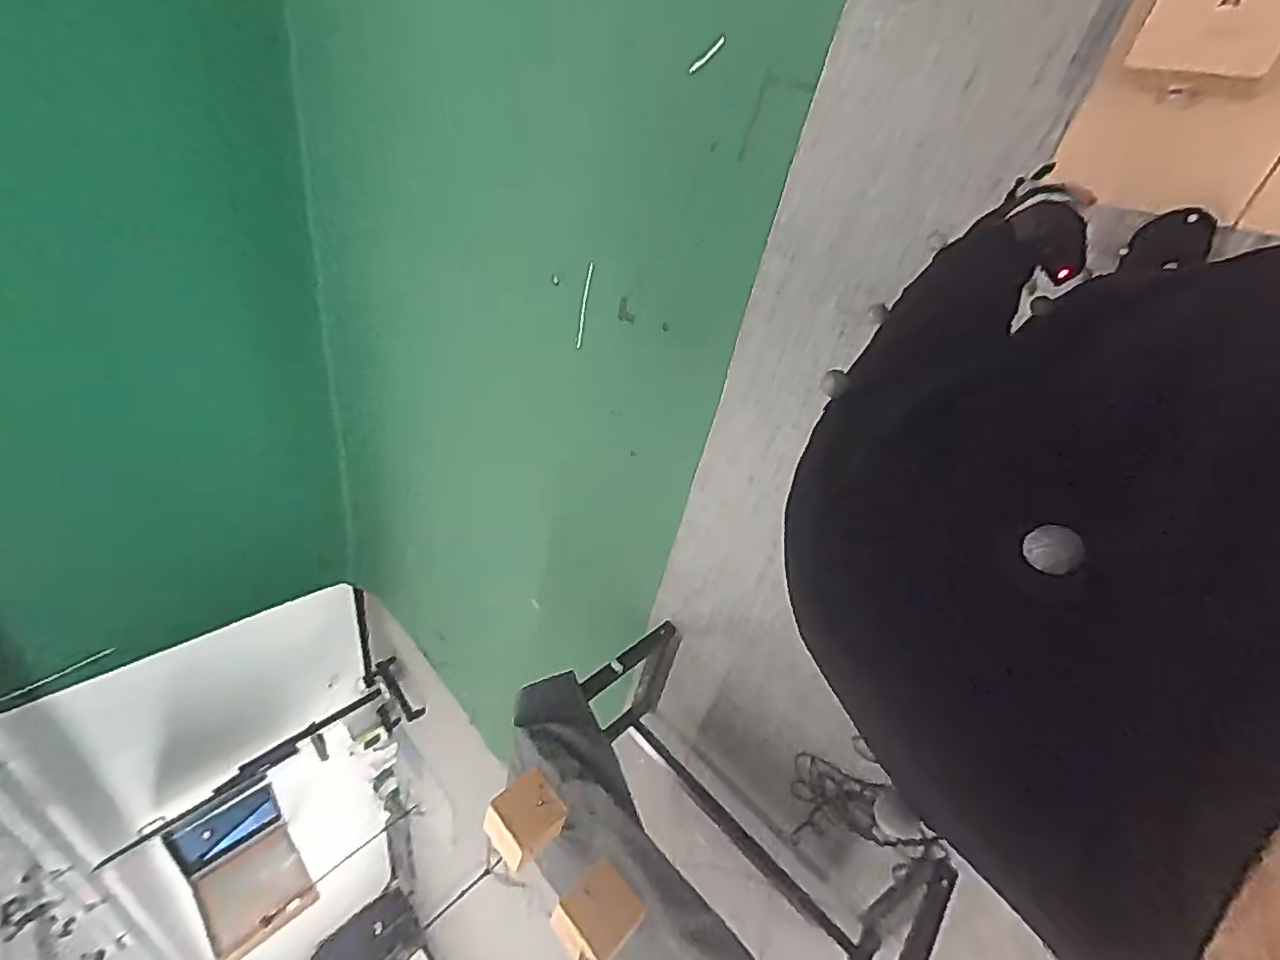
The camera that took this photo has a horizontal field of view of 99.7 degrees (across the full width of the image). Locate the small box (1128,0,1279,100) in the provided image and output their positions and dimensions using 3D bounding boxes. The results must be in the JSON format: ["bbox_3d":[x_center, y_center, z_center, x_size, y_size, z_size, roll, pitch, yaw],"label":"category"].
[{"bbox_3d":[0.847,-0.668,0.768,0.168,0.176,0.179,35,129,32],"label":"small box"}]

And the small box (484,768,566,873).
[{"bbox_3d":[-0.340,1.002,1.601,0.168,0.176,0.179,39,130,27],"label":"small box"}]
